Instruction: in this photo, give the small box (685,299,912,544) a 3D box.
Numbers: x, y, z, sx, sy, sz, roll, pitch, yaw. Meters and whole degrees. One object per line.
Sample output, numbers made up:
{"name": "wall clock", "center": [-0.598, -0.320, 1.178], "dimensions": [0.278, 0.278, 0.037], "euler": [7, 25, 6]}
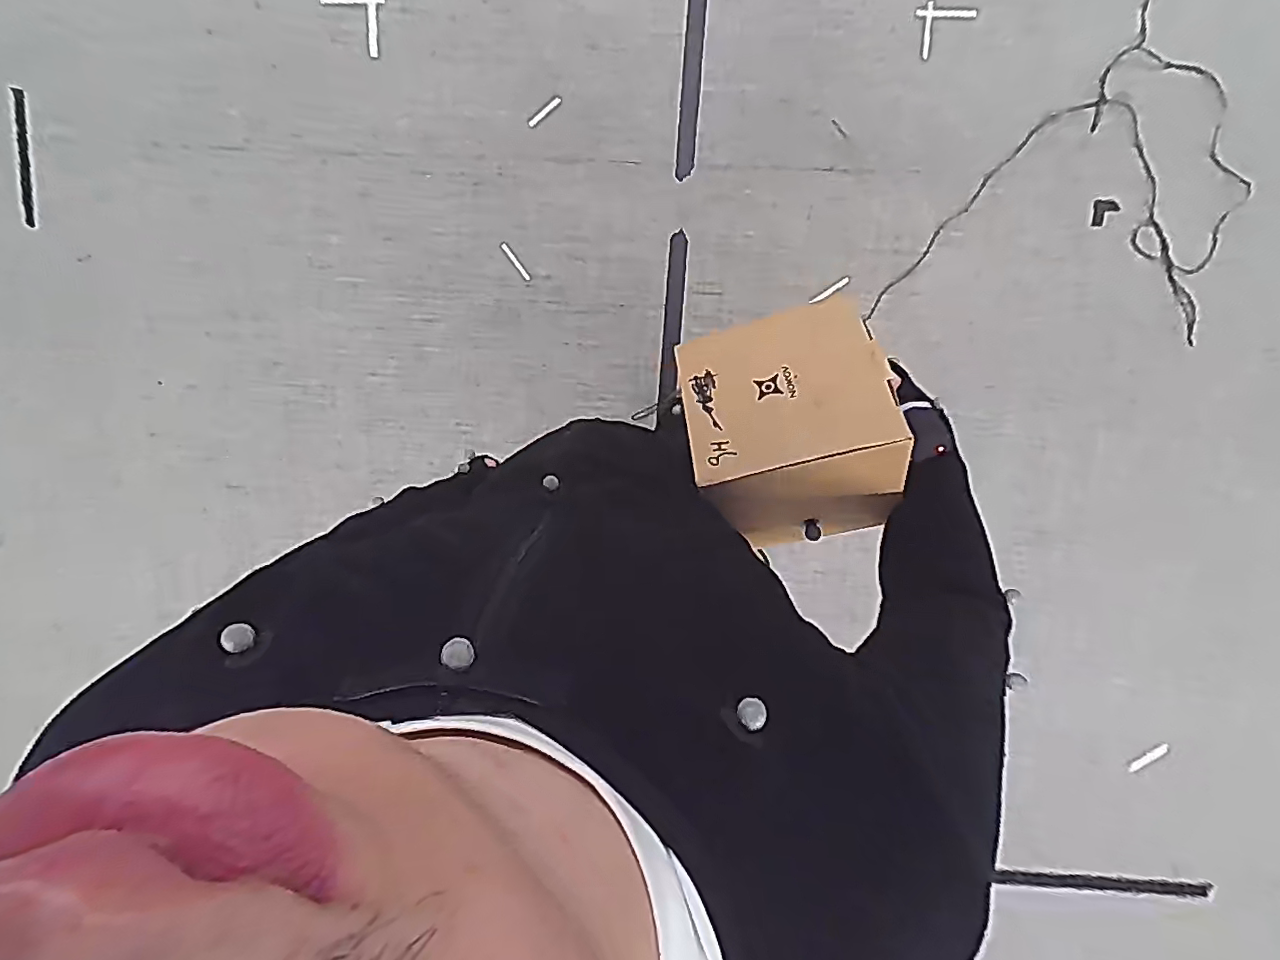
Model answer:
{"name": "small box", "center": [0.155, -0.049, 0.561], "dimensions": [0.179, 0.176, 0.168], "euler": [-13, 58, 13]}
